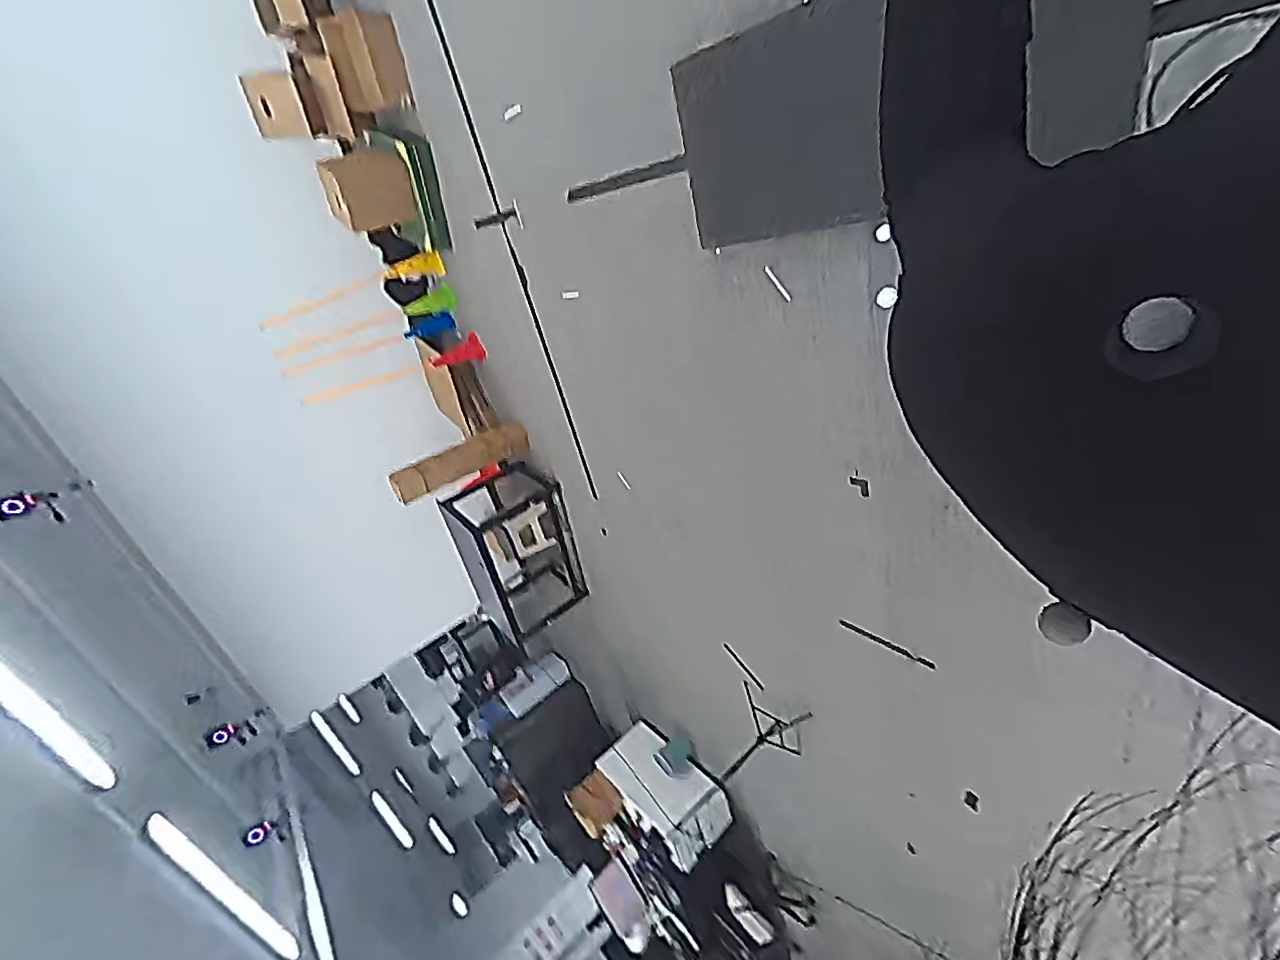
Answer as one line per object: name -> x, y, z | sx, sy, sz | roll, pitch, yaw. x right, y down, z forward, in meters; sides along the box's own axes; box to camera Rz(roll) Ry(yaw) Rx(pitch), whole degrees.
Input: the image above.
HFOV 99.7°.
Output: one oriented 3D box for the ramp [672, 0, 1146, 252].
ramp -> 0.523, -0.872, 1.287 | 0.991, 0.206, 0.509 | 17, 129, 49
